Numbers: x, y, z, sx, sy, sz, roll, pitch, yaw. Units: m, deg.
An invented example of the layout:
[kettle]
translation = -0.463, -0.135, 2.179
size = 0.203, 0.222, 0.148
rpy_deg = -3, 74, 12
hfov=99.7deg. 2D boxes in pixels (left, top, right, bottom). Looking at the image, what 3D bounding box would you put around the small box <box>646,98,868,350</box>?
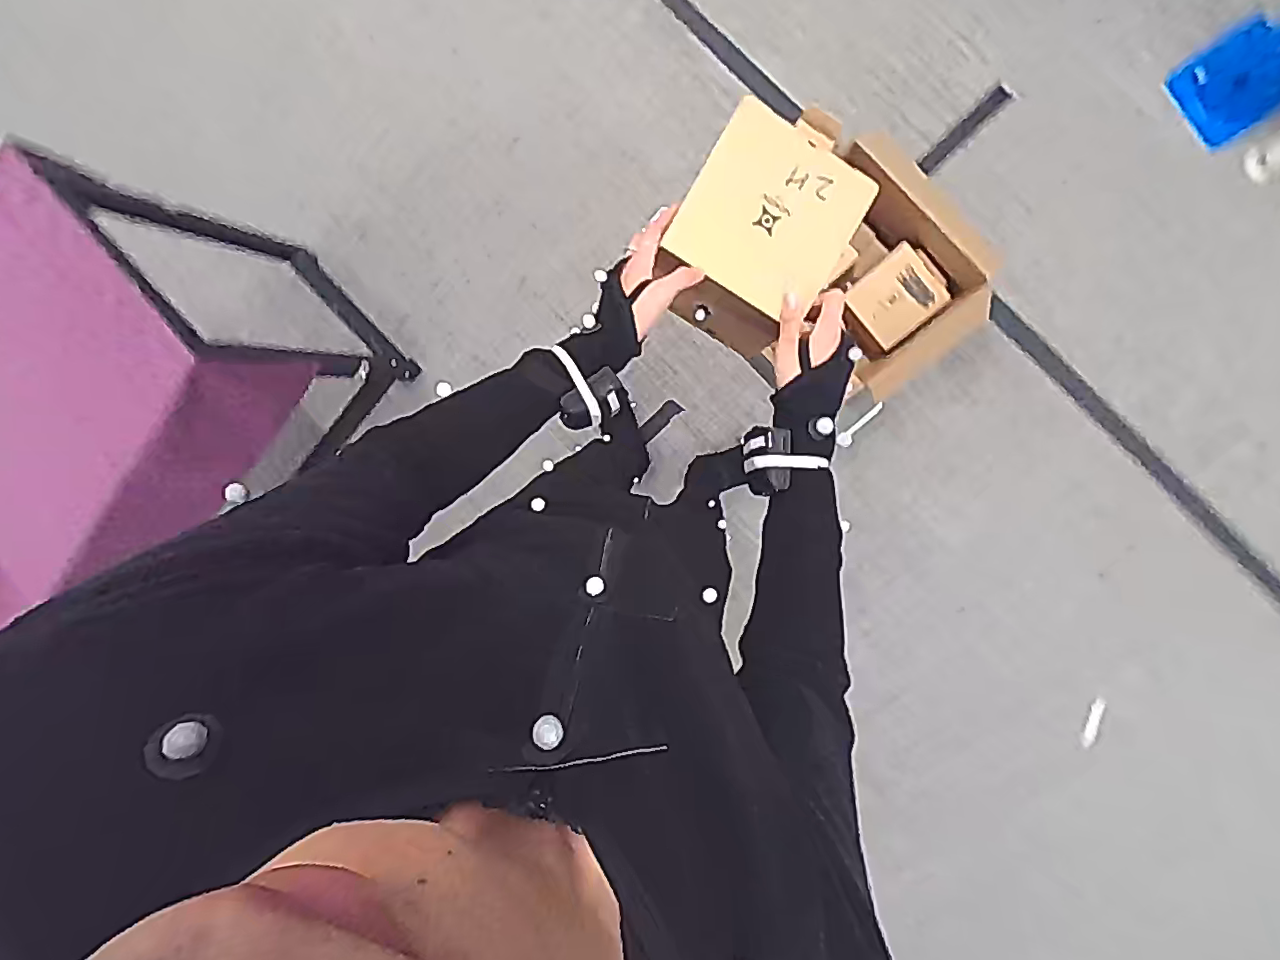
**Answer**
[small box]
translation = 0.118, -0.273, 0.628
size = 0.168, 0.176, 0.179
rpy_deg = 29, 89, -7
